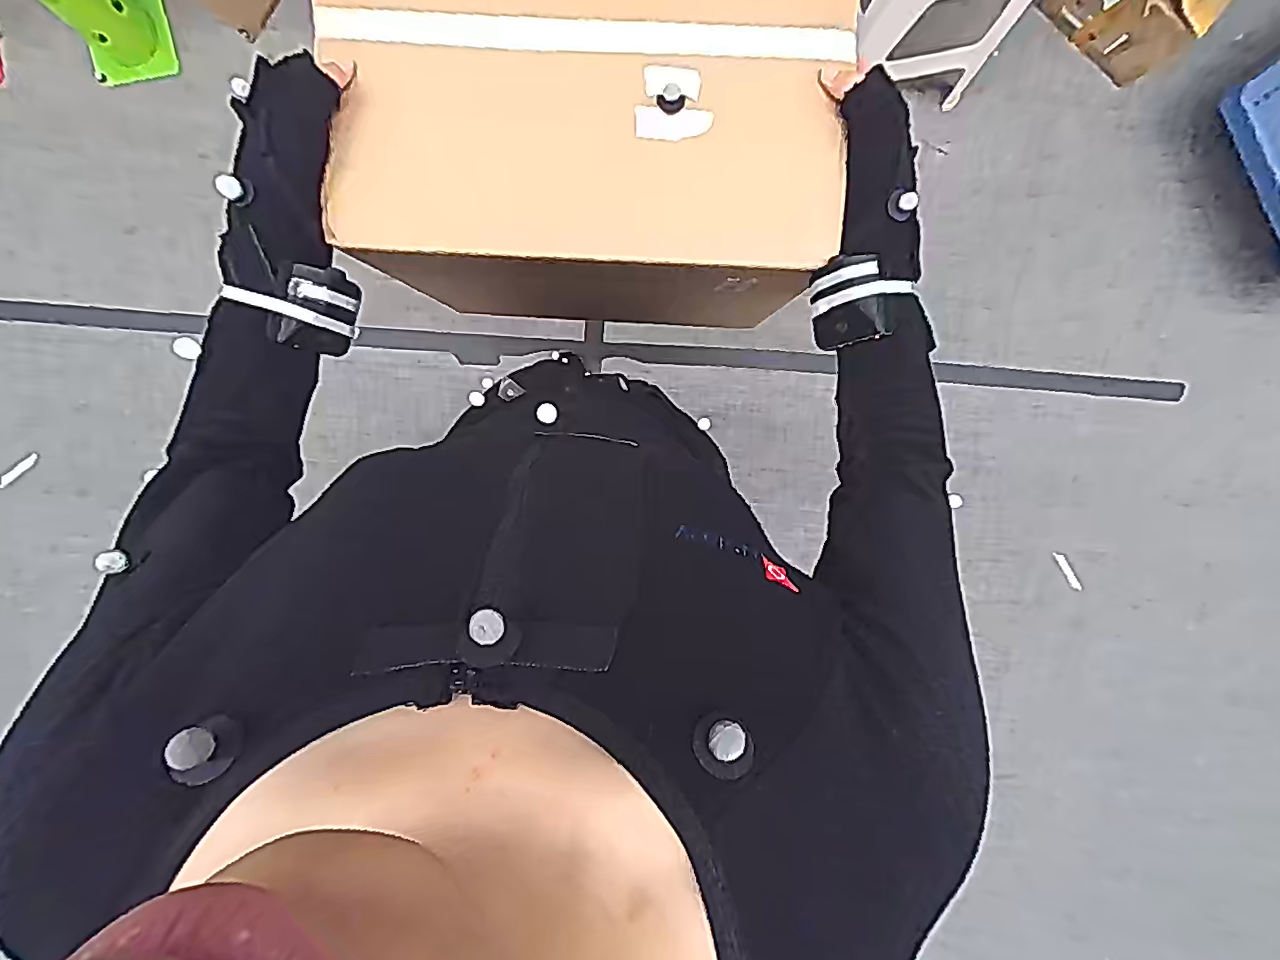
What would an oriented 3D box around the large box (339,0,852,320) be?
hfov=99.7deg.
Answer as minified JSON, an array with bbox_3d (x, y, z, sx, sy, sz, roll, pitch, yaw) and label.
[{"bbox_3d":[-0.037,-0.357,0.568,0.408,0.320,0.320,3,97,-1],"label":"large box"}]
